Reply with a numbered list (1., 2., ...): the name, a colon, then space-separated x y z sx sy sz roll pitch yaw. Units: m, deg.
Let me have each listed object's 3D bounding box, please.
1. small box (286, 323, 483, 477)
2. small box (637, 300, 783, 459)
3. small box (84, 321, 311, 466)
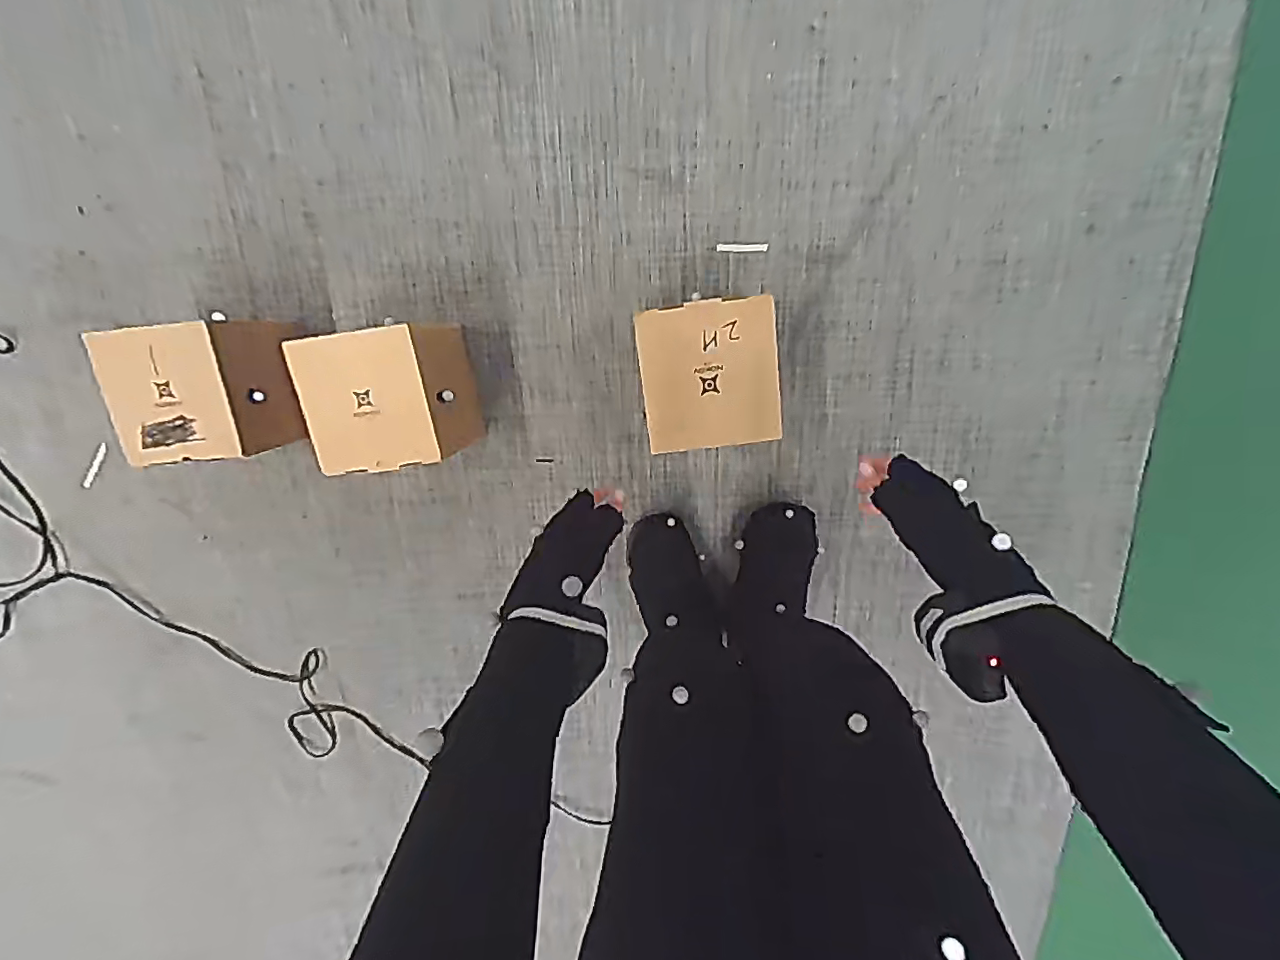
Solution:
1. small box: -0.336 -0.117 0.748 0.168 0.176 0.179 -7 107 5
2. small box: 0.090 -0.139 0.721 0.168 0.176 0.179 -6 106 3
3. small box: -0.591 -0.127 0.757 0.168 0.176 0.179 -4 105 4
